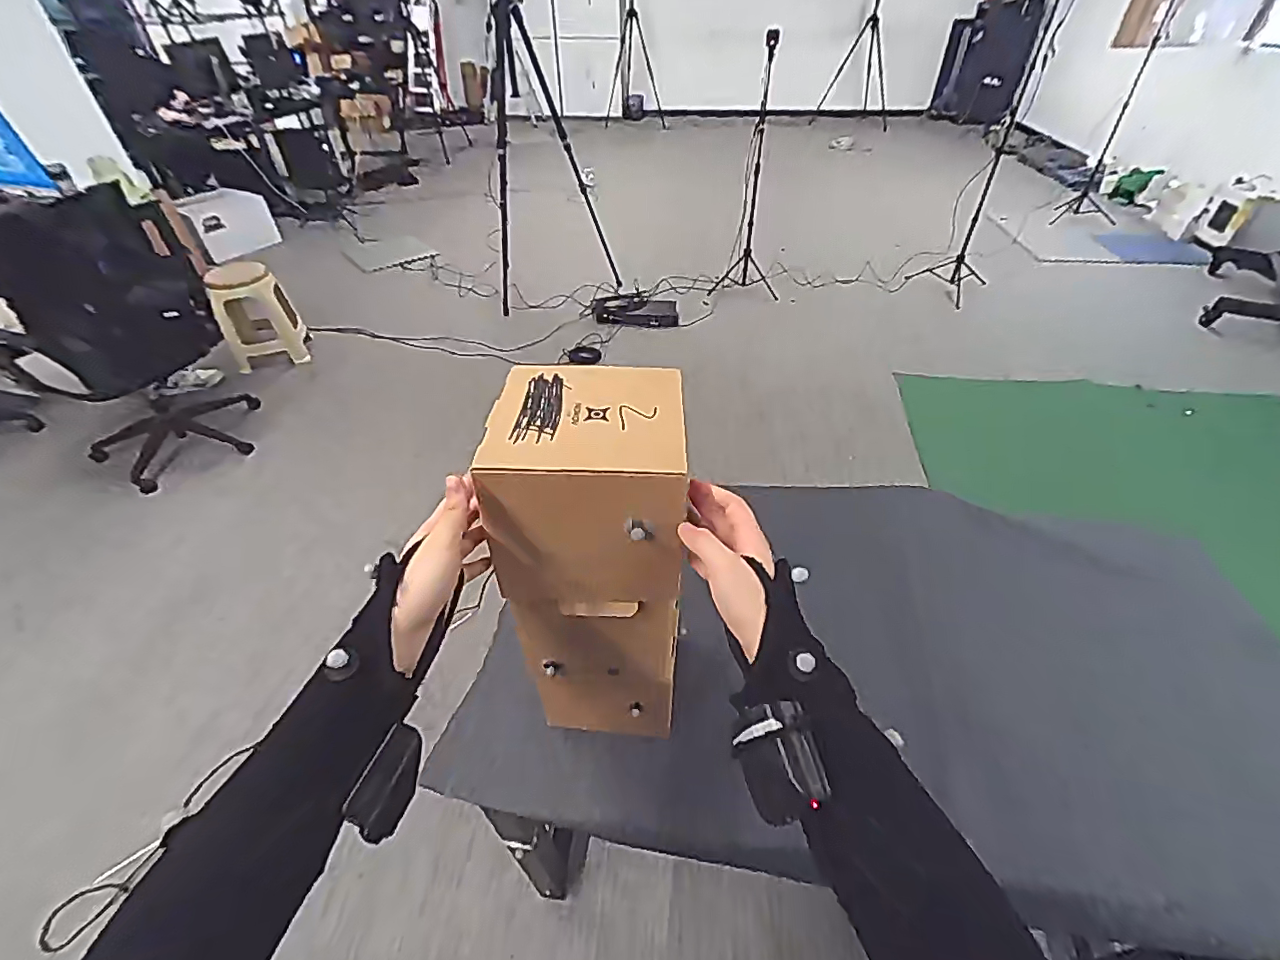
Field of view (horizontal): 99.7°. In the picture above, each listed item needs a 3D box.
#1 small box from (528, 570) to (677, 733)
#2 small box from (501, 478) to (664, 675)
[{"bbox_3d":[-0.041,0.238,0.765,0.179,0.176,0.168,3,41,6],"label":"small box"},{"bbox_3d":[-0.055,0.117,0.655,0.168,0.176,0.179,1,40,2],"label":"small box"}]
